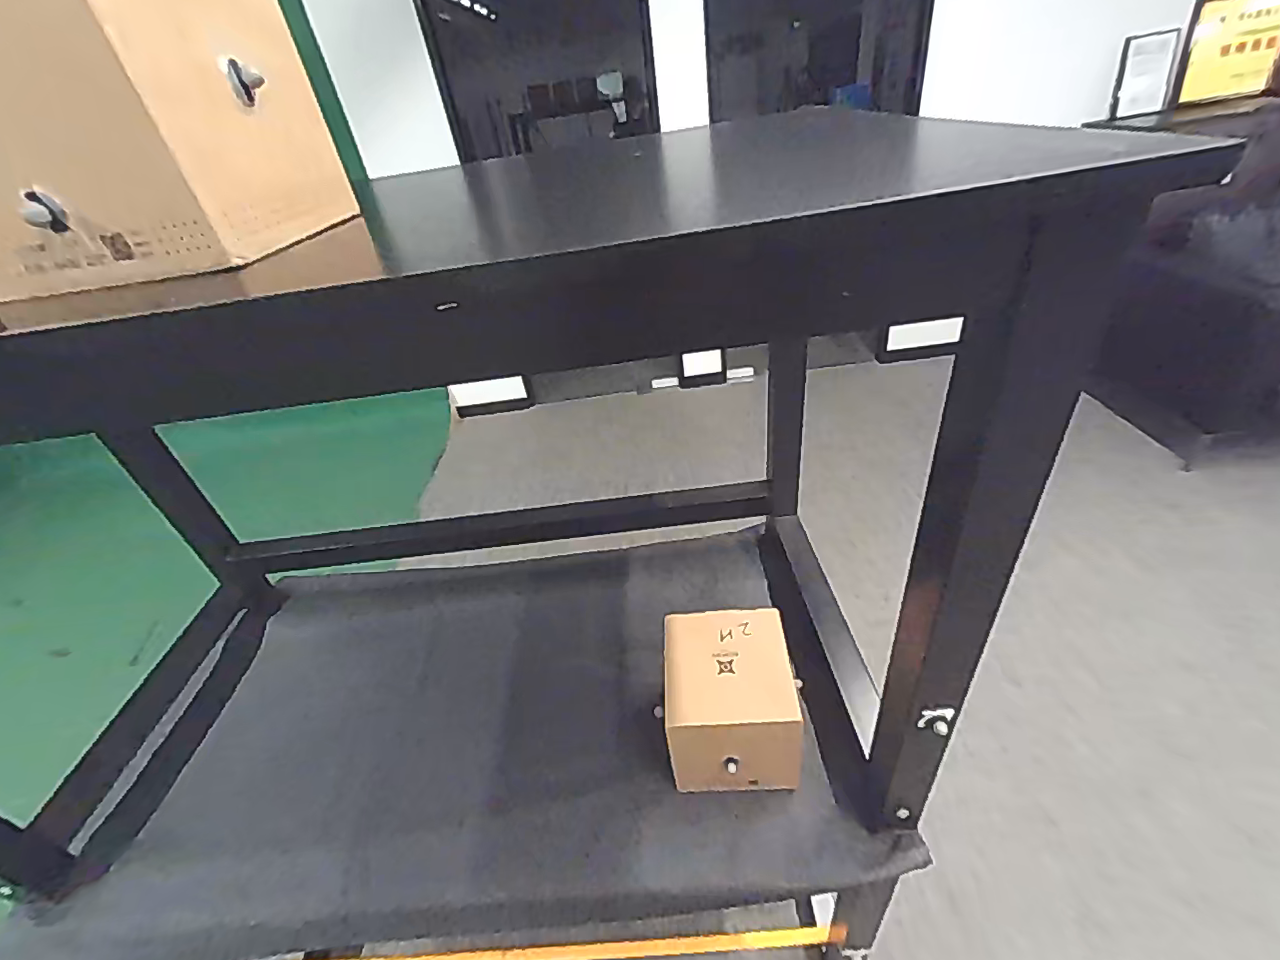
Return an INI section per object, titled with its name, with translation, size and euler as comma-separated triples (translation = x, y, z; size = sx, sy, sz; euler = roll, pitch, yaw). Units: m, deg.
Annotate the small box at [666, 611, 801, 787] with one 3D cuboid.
[small box]
translation = 0.128, 0.310, 0.761
size = 0.168, 0.176, 0.179
euler = -4, 35, 6
